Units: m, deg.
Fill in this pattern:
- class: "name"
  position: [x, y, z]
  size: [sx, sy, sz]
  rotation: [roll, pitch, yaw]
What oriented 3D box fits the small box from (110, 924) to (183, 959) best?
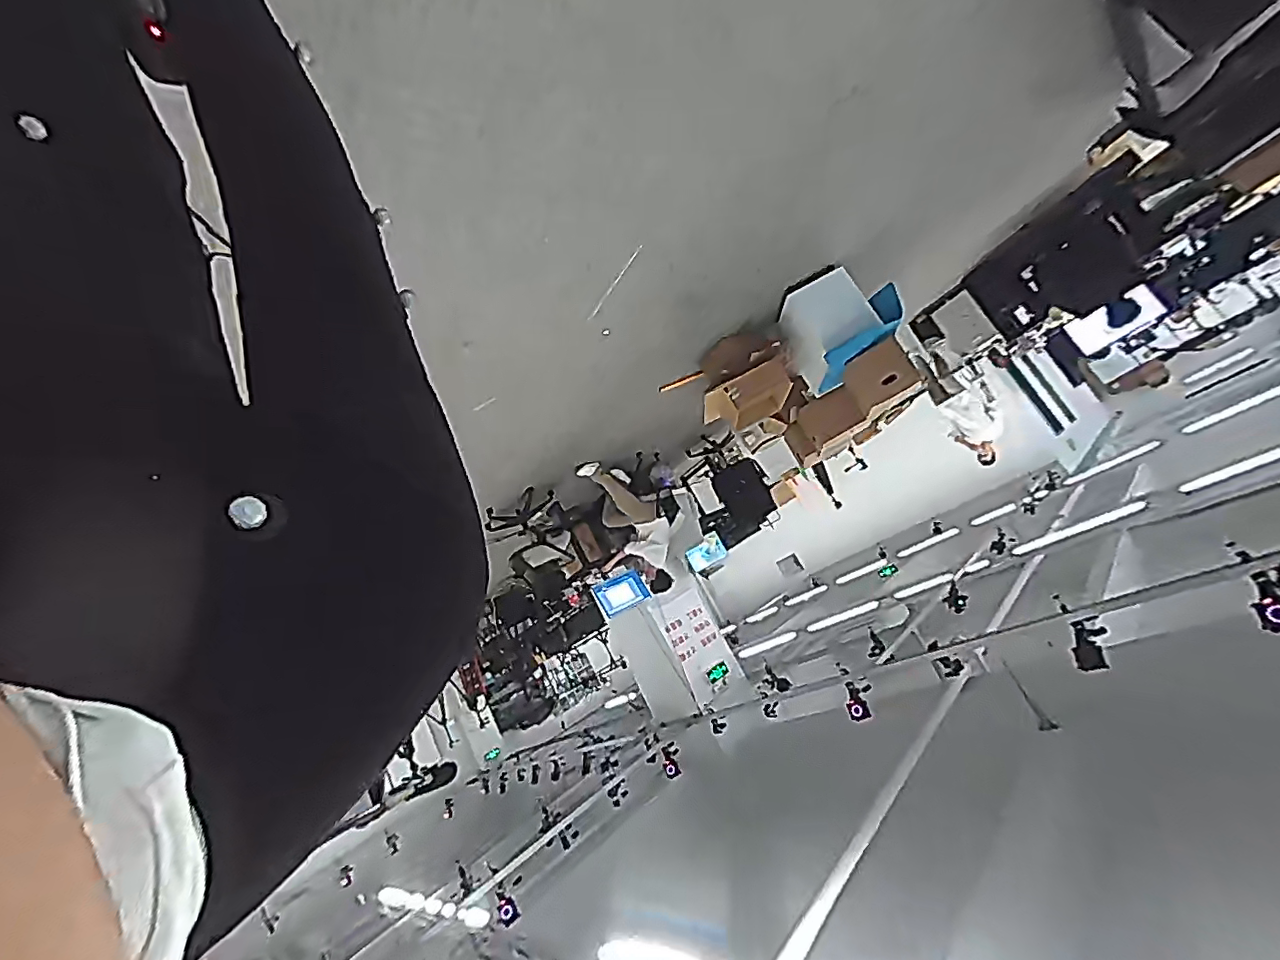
- class: "small box"
  position: [-1.418, 1.412, 1.532]
  size: [0.179, 0.176, 0.168]
  rotation: [-19, 166, -44]
